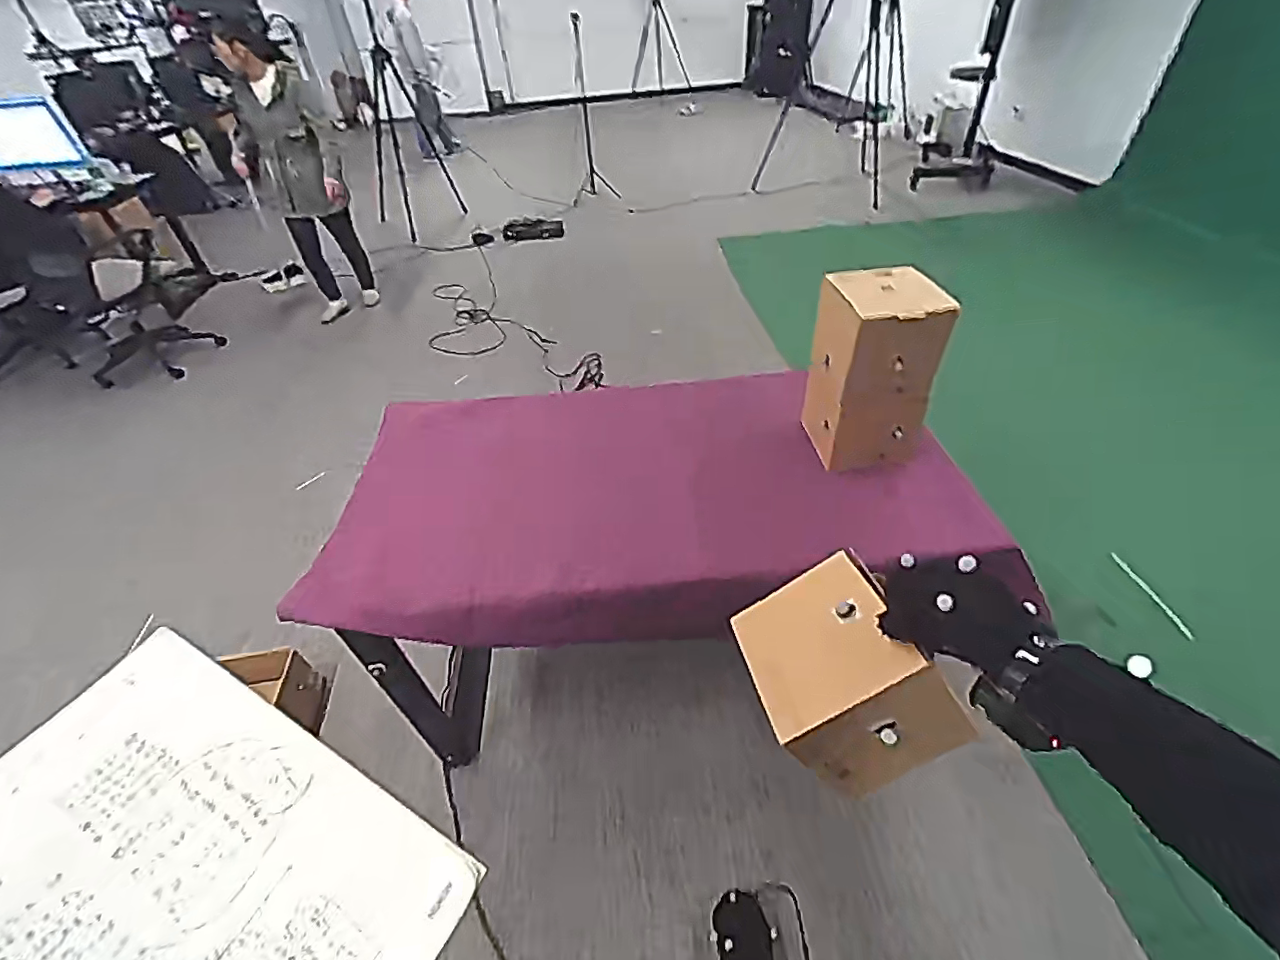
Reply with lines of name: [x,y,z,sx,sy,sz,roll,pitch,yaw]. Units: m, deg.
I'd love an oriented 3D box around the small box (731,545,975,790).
small box: [0.234,0.218,0.627,0.176,0.168,0.179,-36,29,11]

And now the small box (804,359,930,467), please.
small box: [0.442,-0.139,1.084,0.168,0.176,0.179,-5,42,-1]

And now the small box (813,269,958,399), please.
small box: [0.426,-0.258,0.972,0.168,0.176,0.179,-5,44,-2]
